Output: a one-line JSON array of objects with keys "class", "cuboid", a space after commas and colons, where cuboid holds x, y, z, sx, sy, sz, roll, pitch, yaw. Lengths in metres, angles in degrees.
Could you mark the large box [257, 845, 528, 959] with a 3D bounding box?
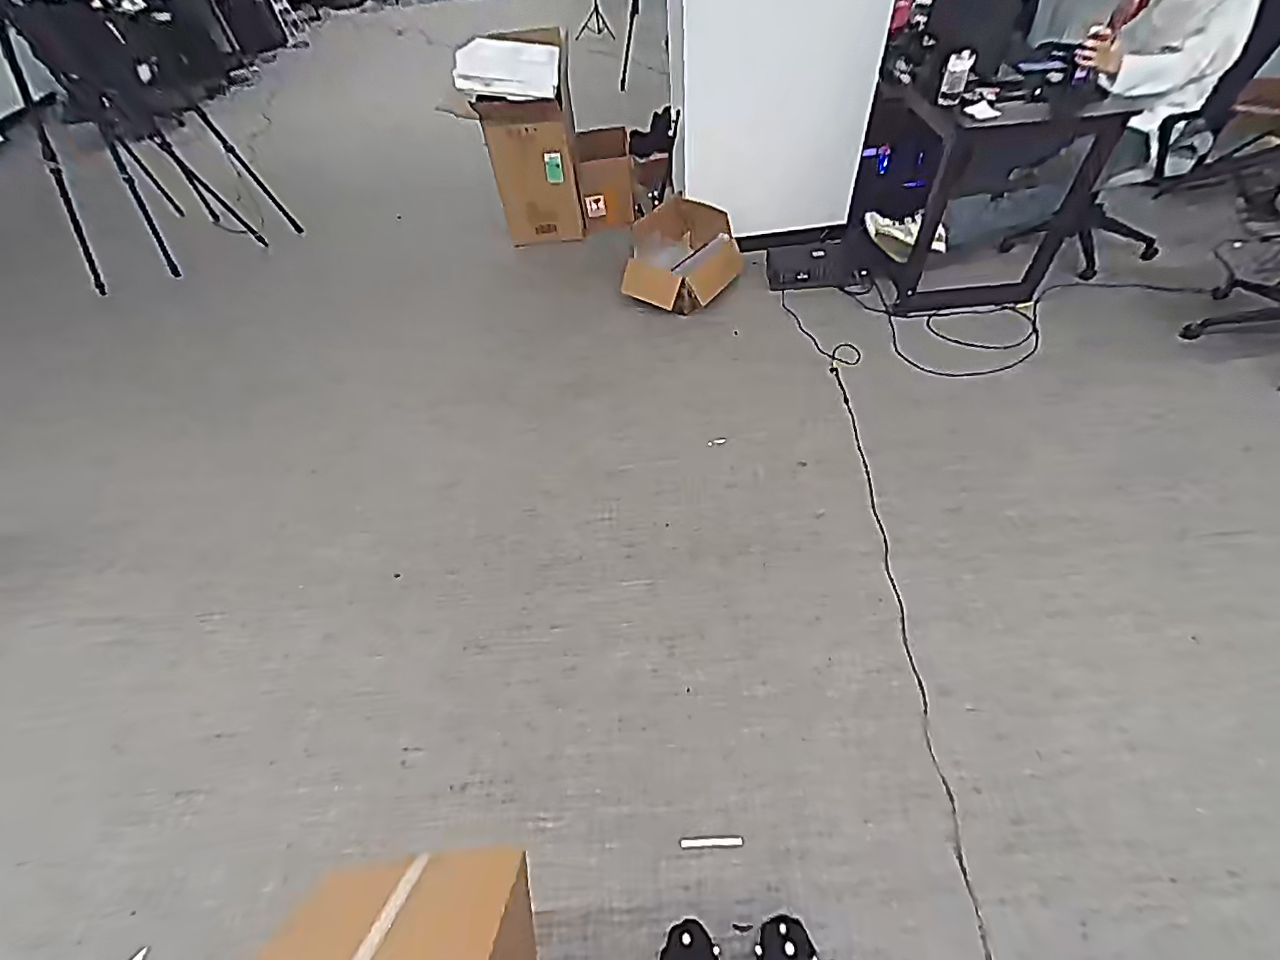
[{"class": "large box", "cuboid": [-0.322, 0.743, 0.660, 0.320, 0.408, 0.320, -8, 89, -1]}]
